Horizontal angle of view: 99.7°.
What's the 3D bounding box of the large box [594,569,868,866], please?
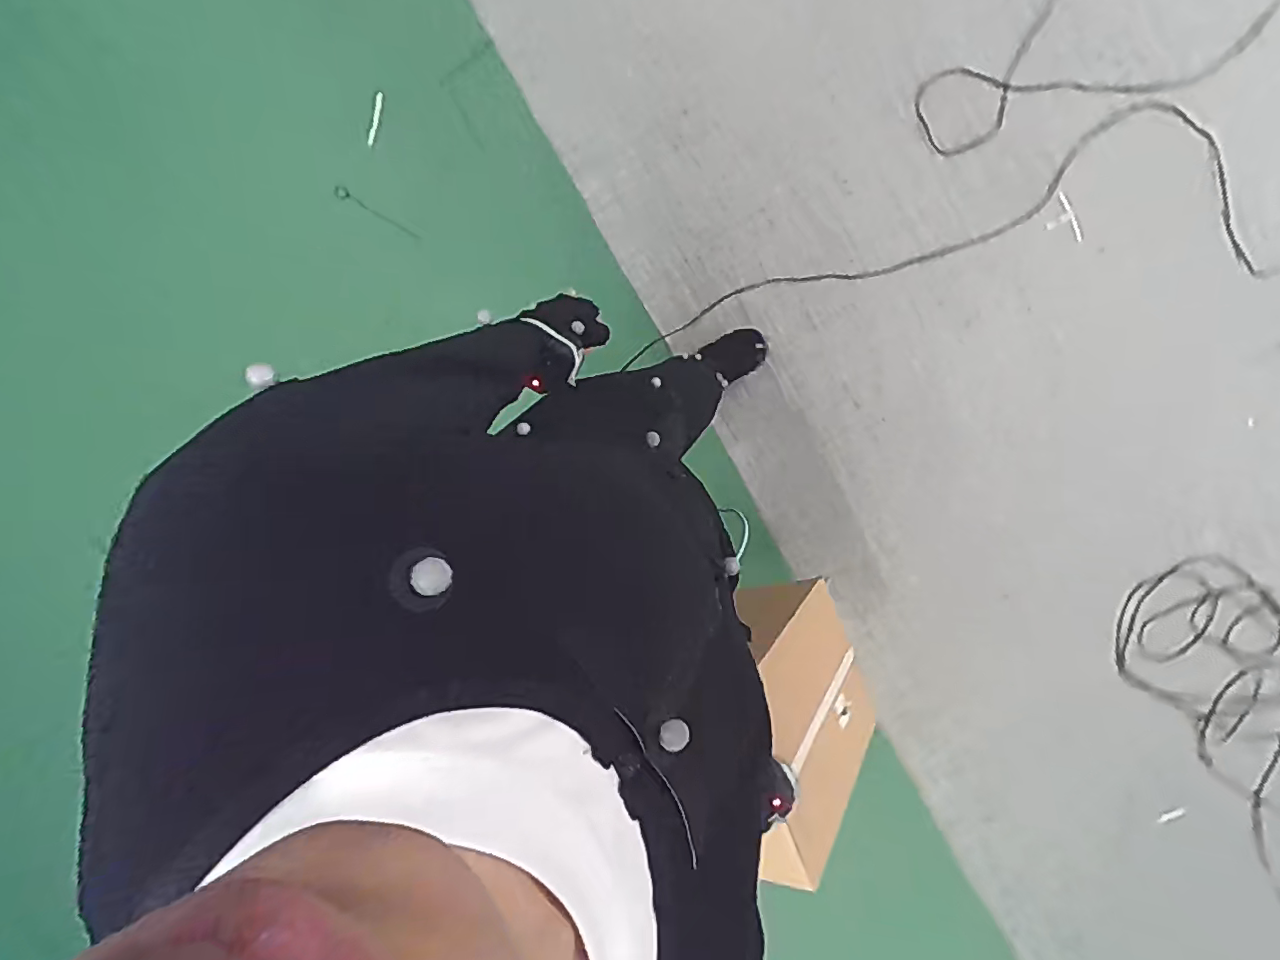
[{"bbox_3d":[0.186,0.412,1.025,0.320,0.408,0.320,-18,96,38],"label":"large box"}]
